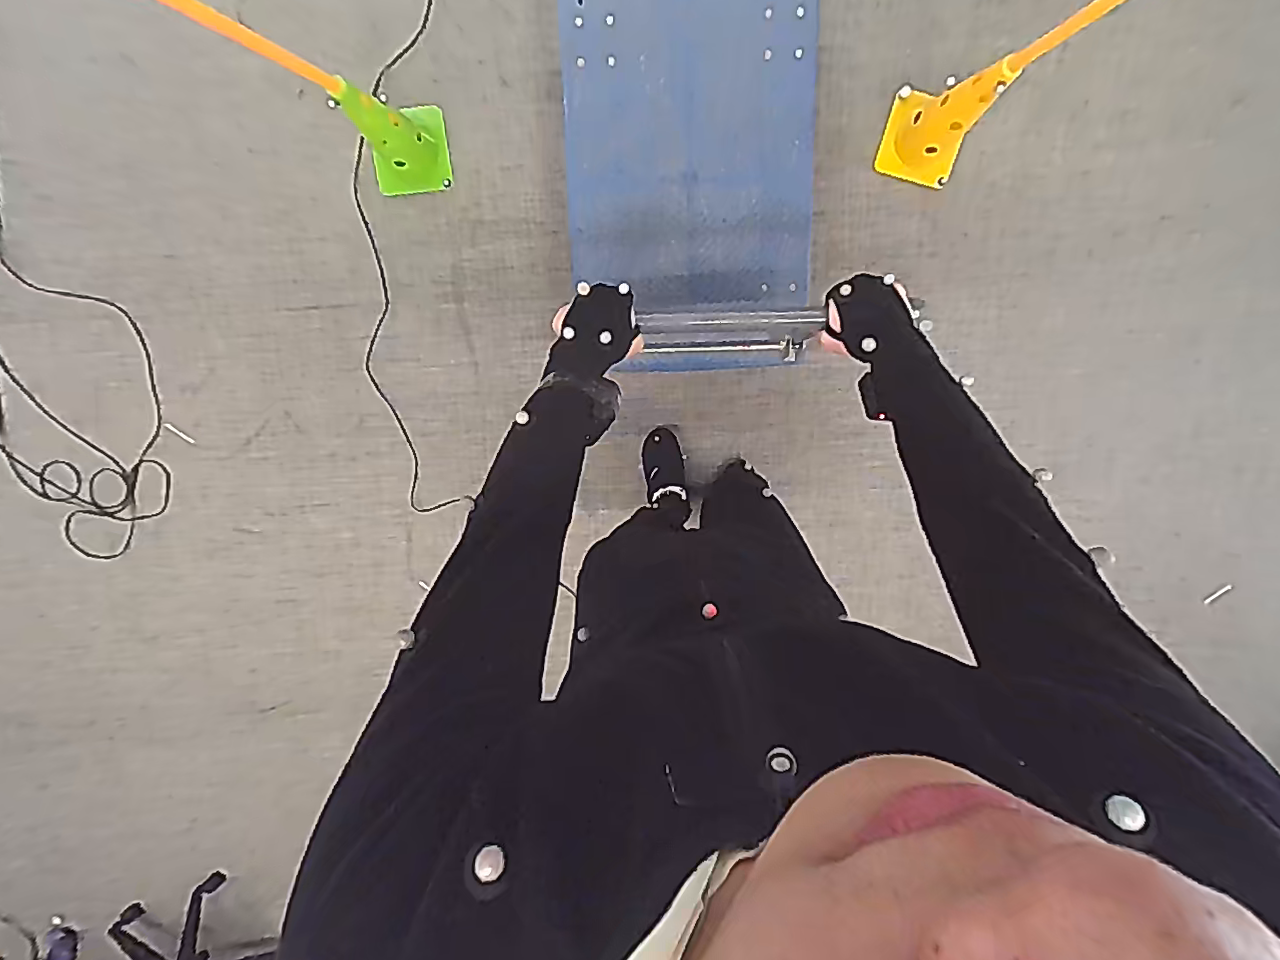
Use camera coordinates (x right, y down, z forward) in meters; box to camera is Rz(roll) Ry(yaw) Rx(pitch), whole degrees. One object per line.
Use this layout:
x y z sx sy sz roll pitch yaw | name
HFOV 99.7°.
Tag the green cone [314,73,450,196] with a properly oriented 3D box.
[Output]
-0.608 -0.818 1.231 0.202 0.368 0.200 -6 102 4 | green cone
